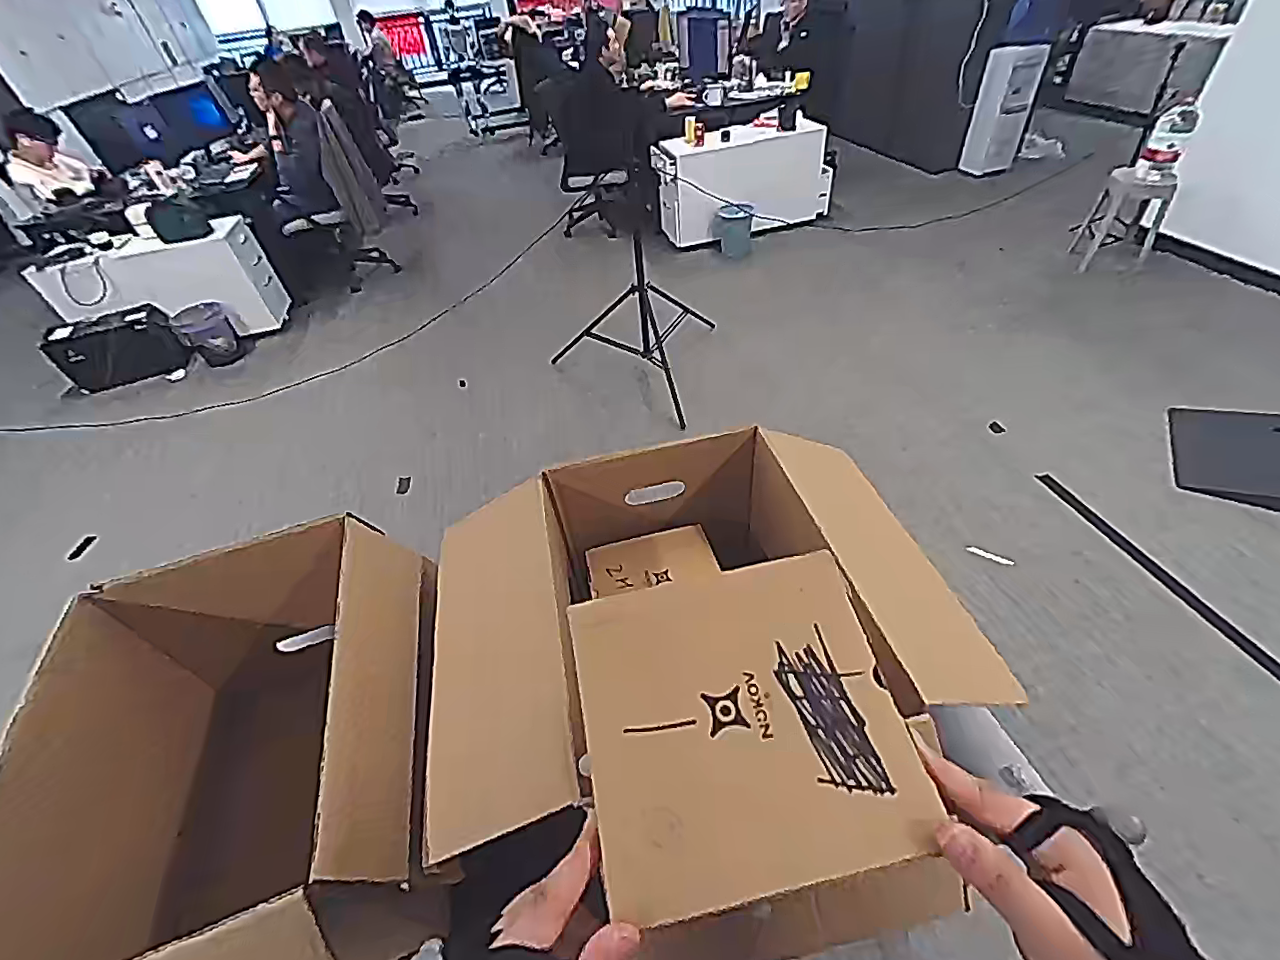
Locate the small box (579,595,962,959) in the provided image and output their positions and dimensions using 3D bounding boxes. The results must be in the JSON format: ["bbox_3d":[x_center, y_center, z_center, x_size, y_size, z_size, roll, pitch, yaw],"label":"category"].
[{"bbox_3d":[0.063,0.199,0.368,0.179,0.176,0.168,-11,56,-4],"label":"small box"}]
